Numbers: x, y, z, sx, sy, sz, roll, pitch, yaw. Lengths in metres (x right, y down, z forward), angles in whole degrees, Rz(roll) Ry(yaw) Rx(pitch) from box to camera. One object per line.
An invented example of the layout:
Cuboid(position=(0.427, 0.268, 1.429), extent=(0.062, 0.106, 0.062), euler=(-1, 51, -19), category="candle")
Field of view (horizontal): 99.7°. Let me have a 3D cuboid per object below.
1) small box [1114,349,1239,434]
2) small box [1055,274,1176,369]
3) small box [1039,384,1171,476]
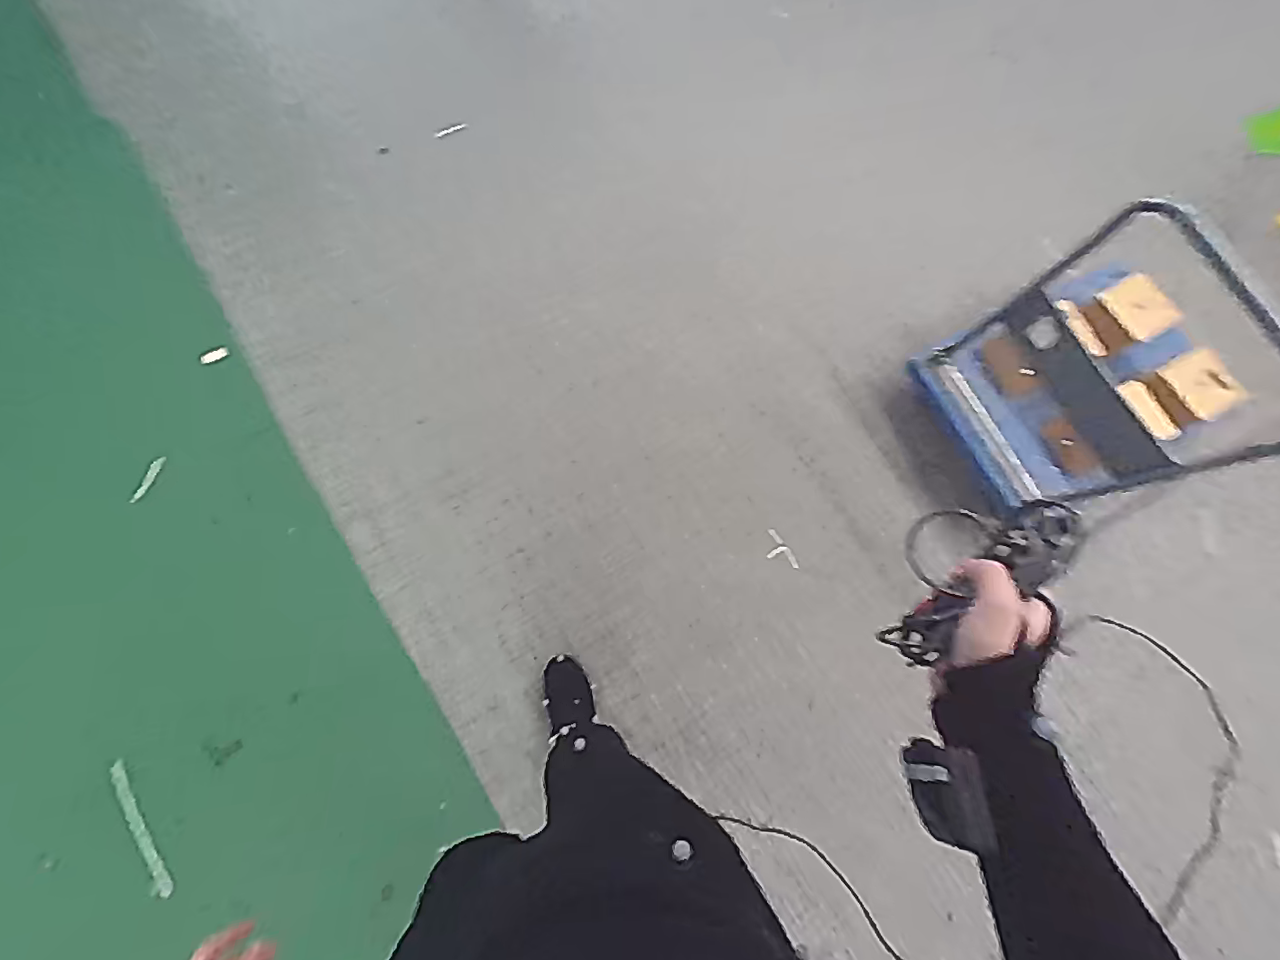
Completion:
Cuboid(position=(1.476, -0.229, 1.511), extent=(0.179, 0.176, 0.168), euler=(-27, 78, -12), category="small box")
Cuboid(position=(1.355, -0.450, 1.561), extent=(0.179, 0.176, 0.168), euler=(-28, 80, -13), category="small box")
Cuboid(position=(1.244, -0.130, 1.460), extent=(0.179, 0.176, 0.168), euler=(-24, 78, -11), category="small box")
